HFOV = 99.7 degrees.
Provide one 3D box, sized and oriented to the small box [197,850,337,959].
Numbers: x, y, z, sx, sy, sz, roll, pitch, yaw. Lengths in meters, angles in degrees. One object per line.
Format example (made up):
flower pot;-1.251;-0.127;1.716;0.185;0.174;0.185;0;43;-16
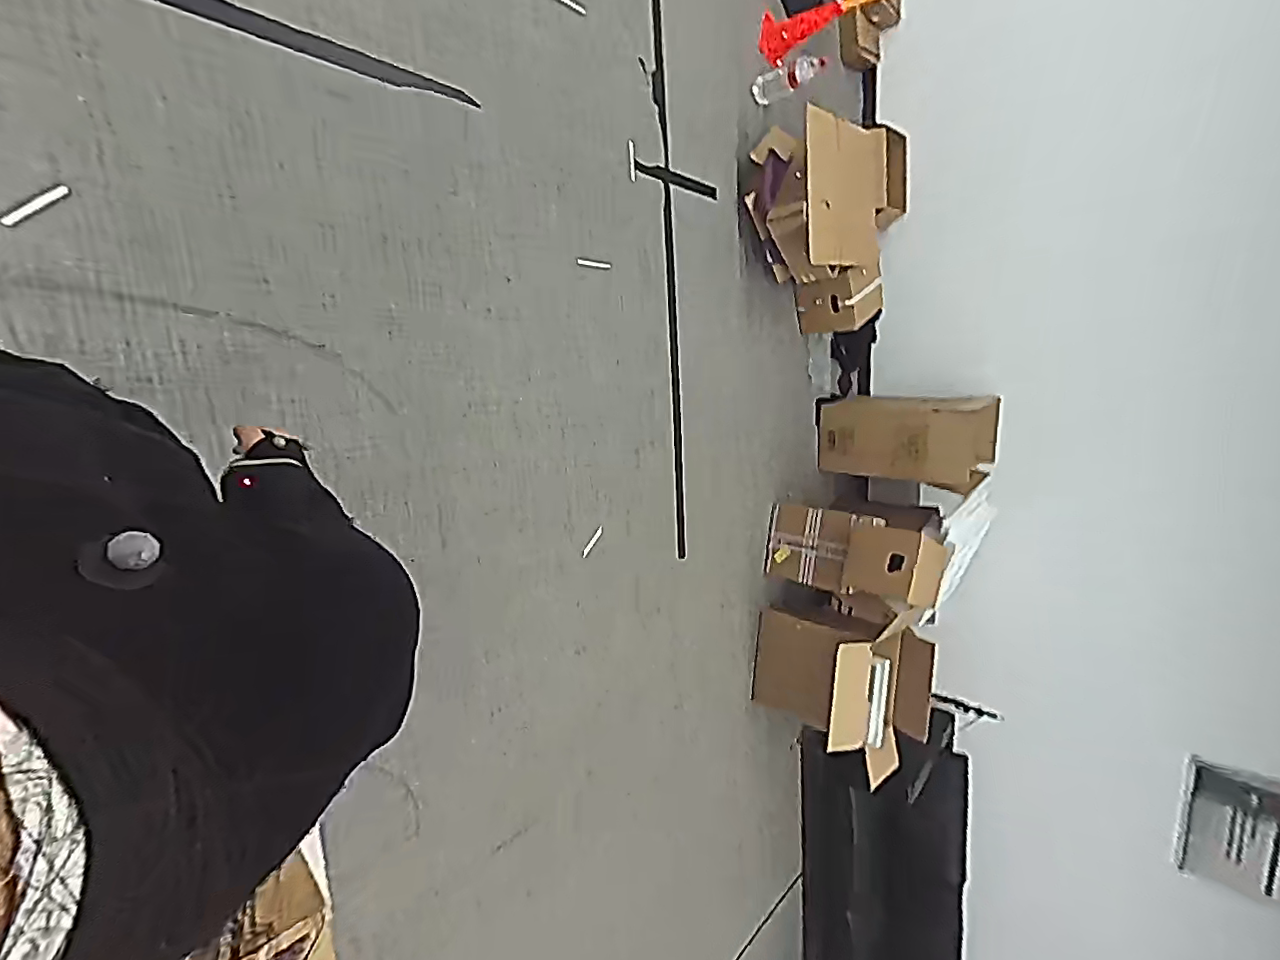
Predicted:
small box;-0.537;0.660;0.748;0.168;0.176;0.179;-9;102;-45

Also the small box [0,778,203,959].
small box;-0.631;0.482;0.626;0.168;0.176;0.179;-8;101;-46
